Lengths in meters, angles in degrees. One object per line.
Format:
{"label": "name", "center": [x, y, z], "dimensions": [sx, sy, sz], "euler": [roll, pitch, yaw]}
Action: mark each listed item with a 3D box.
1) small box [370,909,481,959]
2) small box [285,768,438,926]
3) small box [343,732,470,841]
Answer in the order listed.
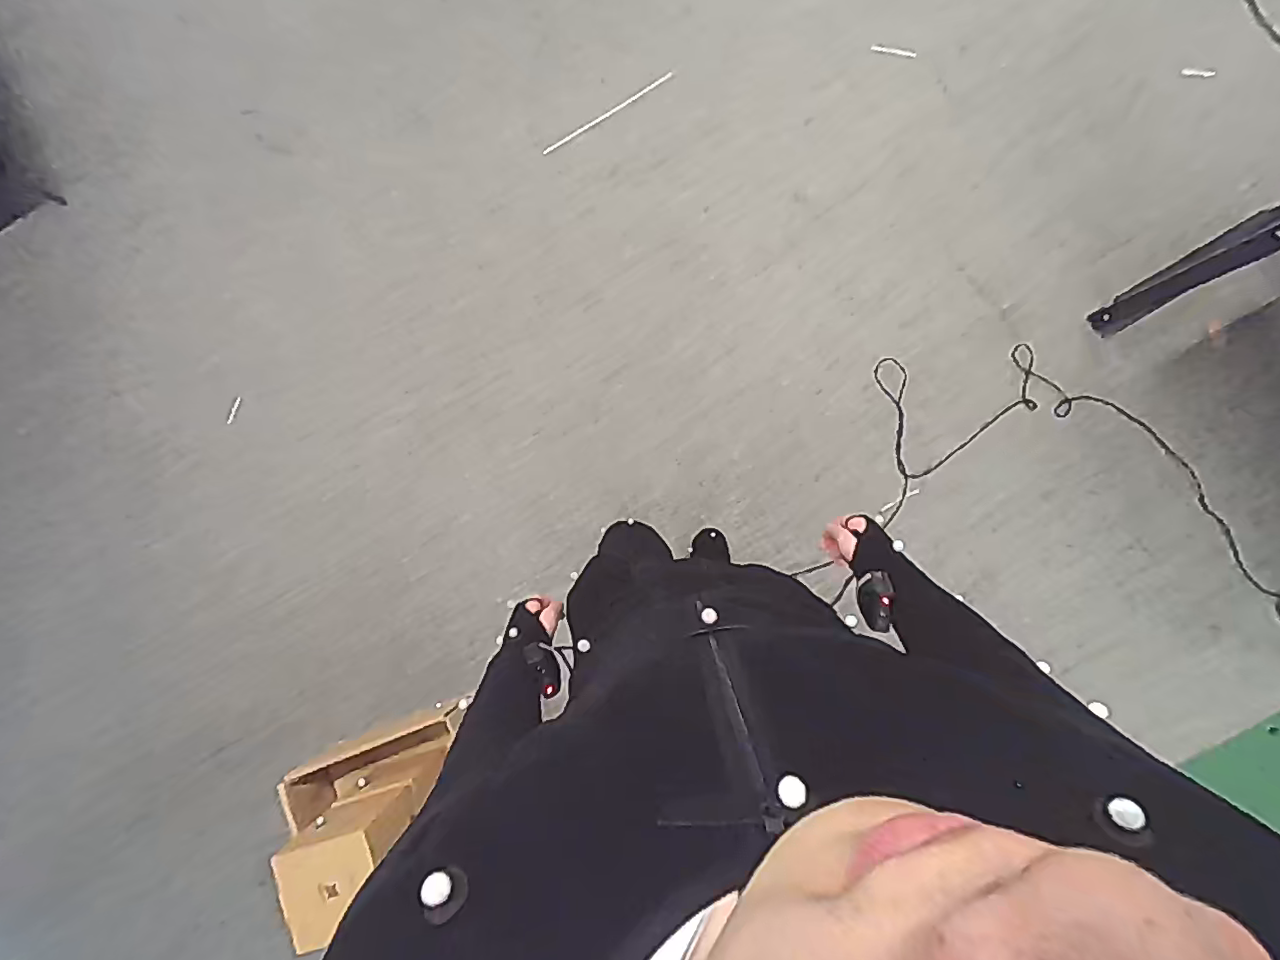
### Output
{"label": "small box", "center": [-0.413, 0.952, 0.997], "dimensions": [0.179, 0.176, 0.168], "euler": [-24, 86, 4]}
{"label": "small box", "center": [-0.517, 0.681, 1.022], "dimensions": [0.179, 0.176, 0.168], "euler": [-18, 86, 4]}
{"label": "small box", "center": [-0.504, 0.684, 1.185], "dimensions": [0.179, 0.176, 0.168], "euler": [-18, 86, 4]}
